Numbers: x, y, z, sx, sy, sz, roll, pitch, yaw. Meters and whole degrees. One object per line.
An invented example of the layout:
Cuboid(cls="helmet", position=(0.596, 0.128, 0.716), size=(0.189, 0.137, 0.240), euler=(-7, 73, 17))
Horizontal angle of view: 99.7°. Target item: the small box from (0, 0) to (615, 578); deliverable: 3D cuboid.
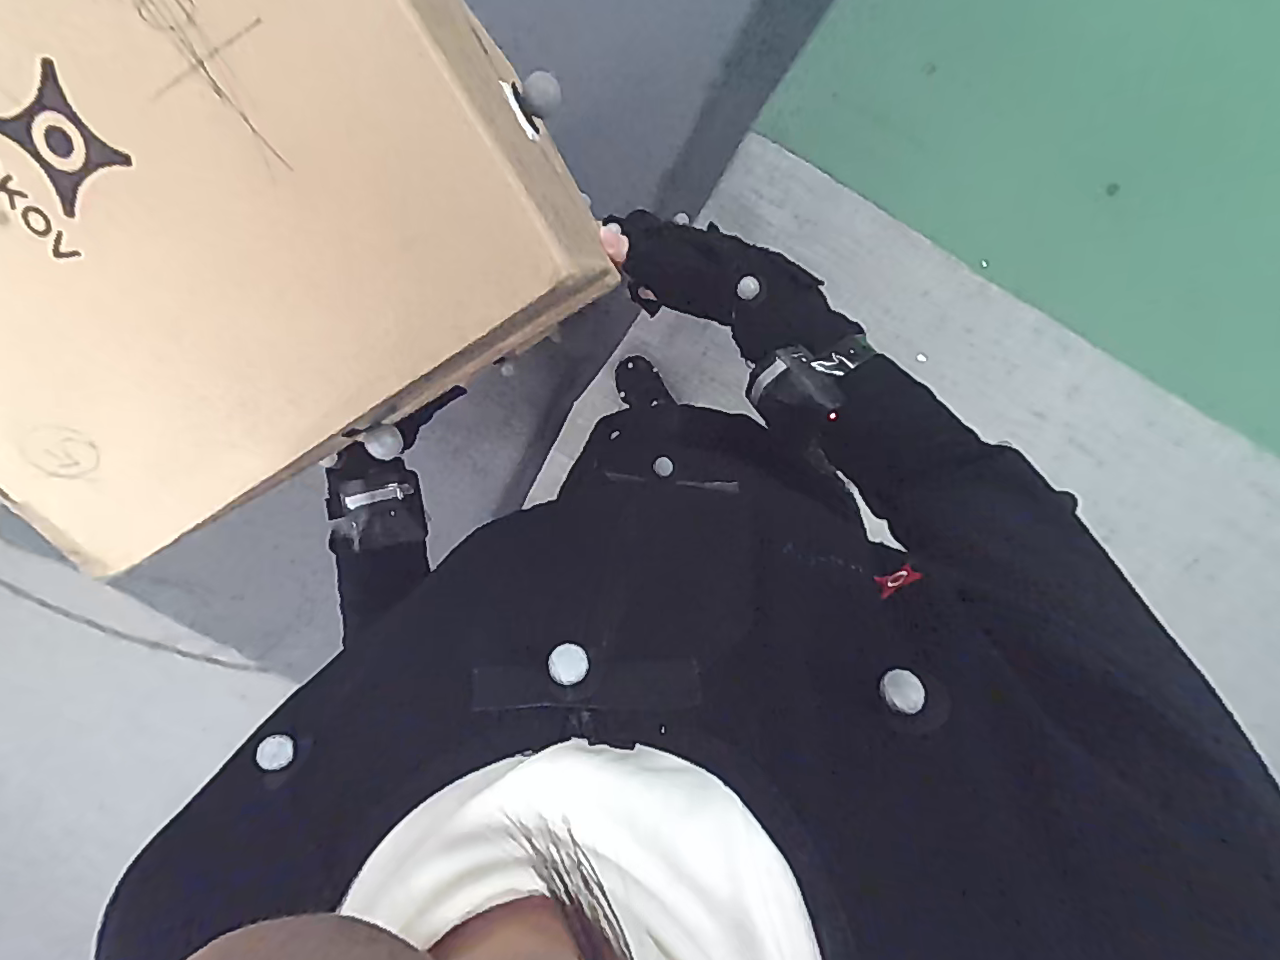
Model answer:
Cuboid(cls="small box", position=(-0.122, -0.102, 0.201), size=(0.179, 0.176, 0.168), euler=(-29, 110, 11))
